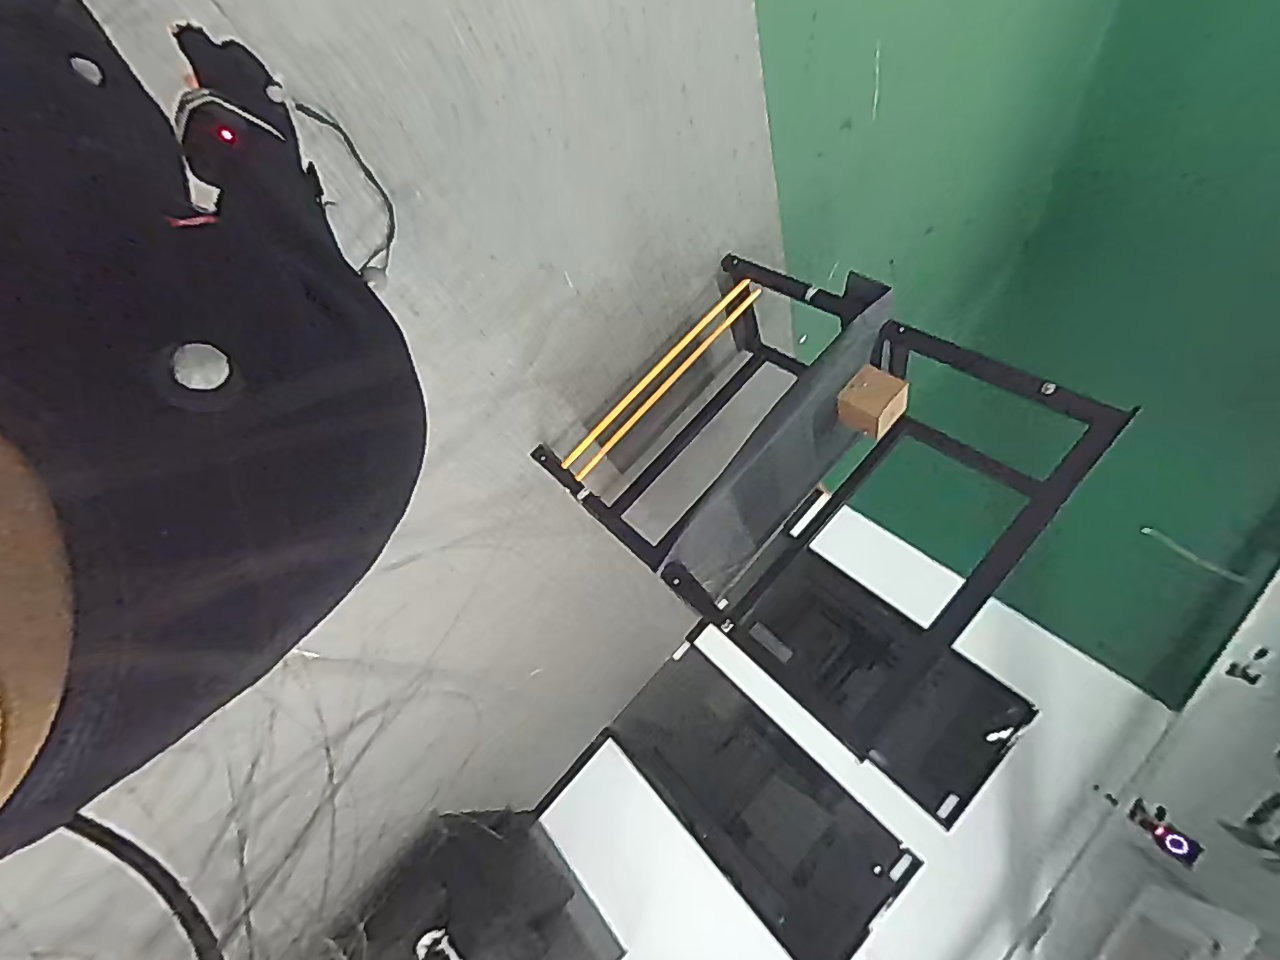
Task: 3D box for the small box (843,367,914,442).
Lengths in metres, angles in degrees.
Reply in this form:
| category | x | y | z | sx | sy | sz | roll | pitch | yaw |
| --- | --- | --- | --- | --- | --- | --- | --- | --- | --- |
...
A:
| category | x | y | z | sx | sy | sz | roll | pitch | yaw |
| --- | --- | --- | --- | --- | --- | --- | --- | --- | --- |
| small box | 0.845 | -0.274 | 1.932 | 0.168 | 0.176 | 0.179 | -49 | 147 | -6 |
